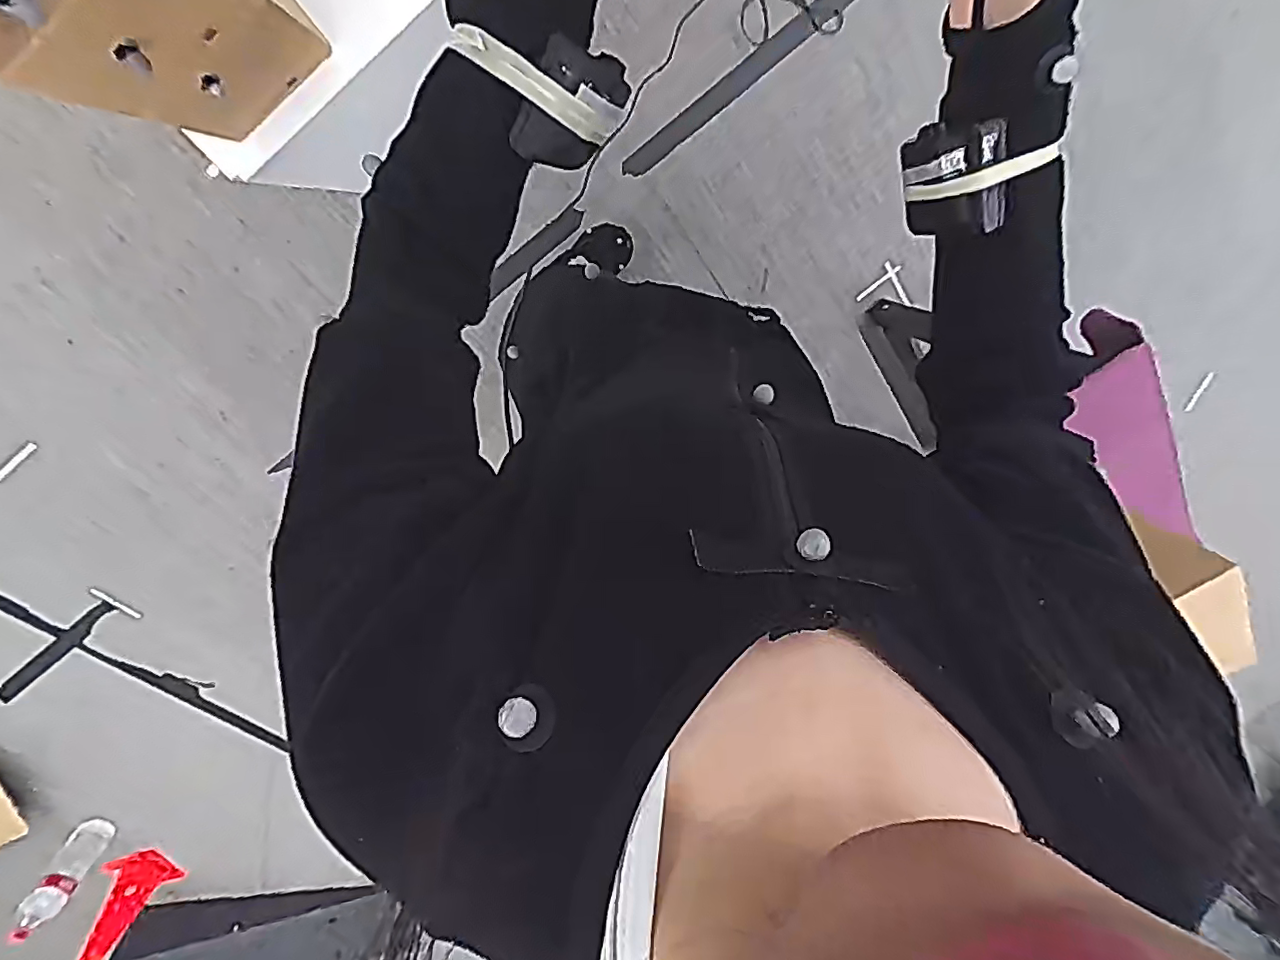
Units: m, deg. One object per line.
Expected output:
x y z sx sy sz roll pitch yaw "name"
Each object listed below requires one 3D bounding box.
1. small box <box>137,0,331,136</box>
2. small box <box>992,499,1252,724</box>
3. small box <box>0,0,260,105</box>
-0.452 -0.477 0.528 0.168 0.176 0.179 -36 115 8 "small box"
0.588 0.157 0.675 0.168 0.176 0.179 -34 116 8 "small box"
-0.426 -0.405 0.384 0.168 0.176 0.179 -37 115 9 "small box"
